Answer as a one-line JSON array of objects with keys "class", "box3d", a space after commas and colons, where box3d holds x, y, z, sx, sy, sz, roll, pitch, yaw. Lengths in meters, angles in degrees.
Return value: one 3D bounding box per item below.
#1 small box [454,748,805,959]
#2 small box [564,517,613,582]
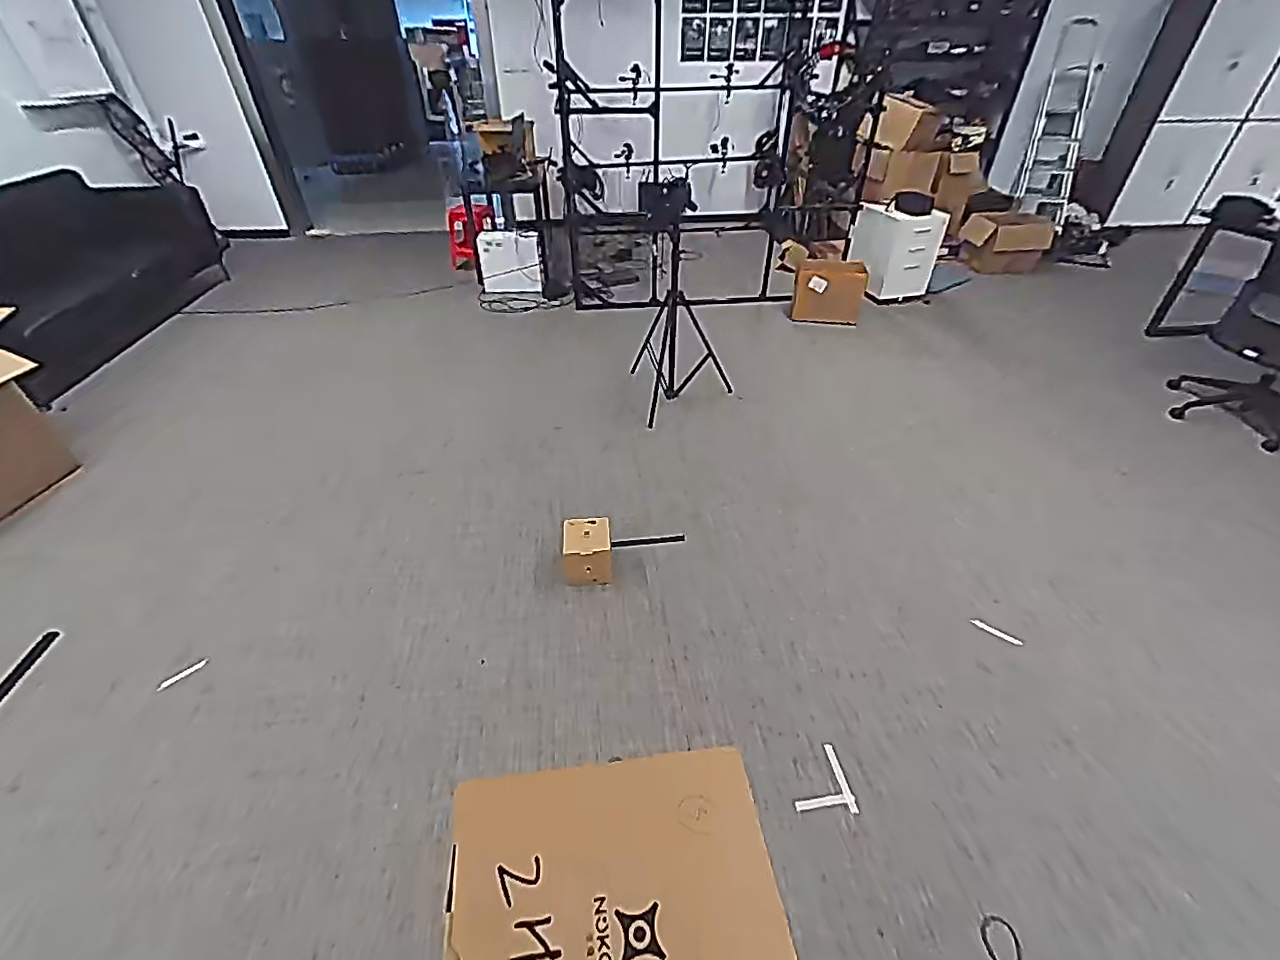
[{"class": "small box", "box3d": [-0.014, 0.287, 0.331, 0.179, 0.176, 0.168, -2, 44, -10]}, {"class": "small box", "box3d": [-0.184, 0.260, 1.978, 0.168, 0.176, 0.179, -3, 40, -3]}]
